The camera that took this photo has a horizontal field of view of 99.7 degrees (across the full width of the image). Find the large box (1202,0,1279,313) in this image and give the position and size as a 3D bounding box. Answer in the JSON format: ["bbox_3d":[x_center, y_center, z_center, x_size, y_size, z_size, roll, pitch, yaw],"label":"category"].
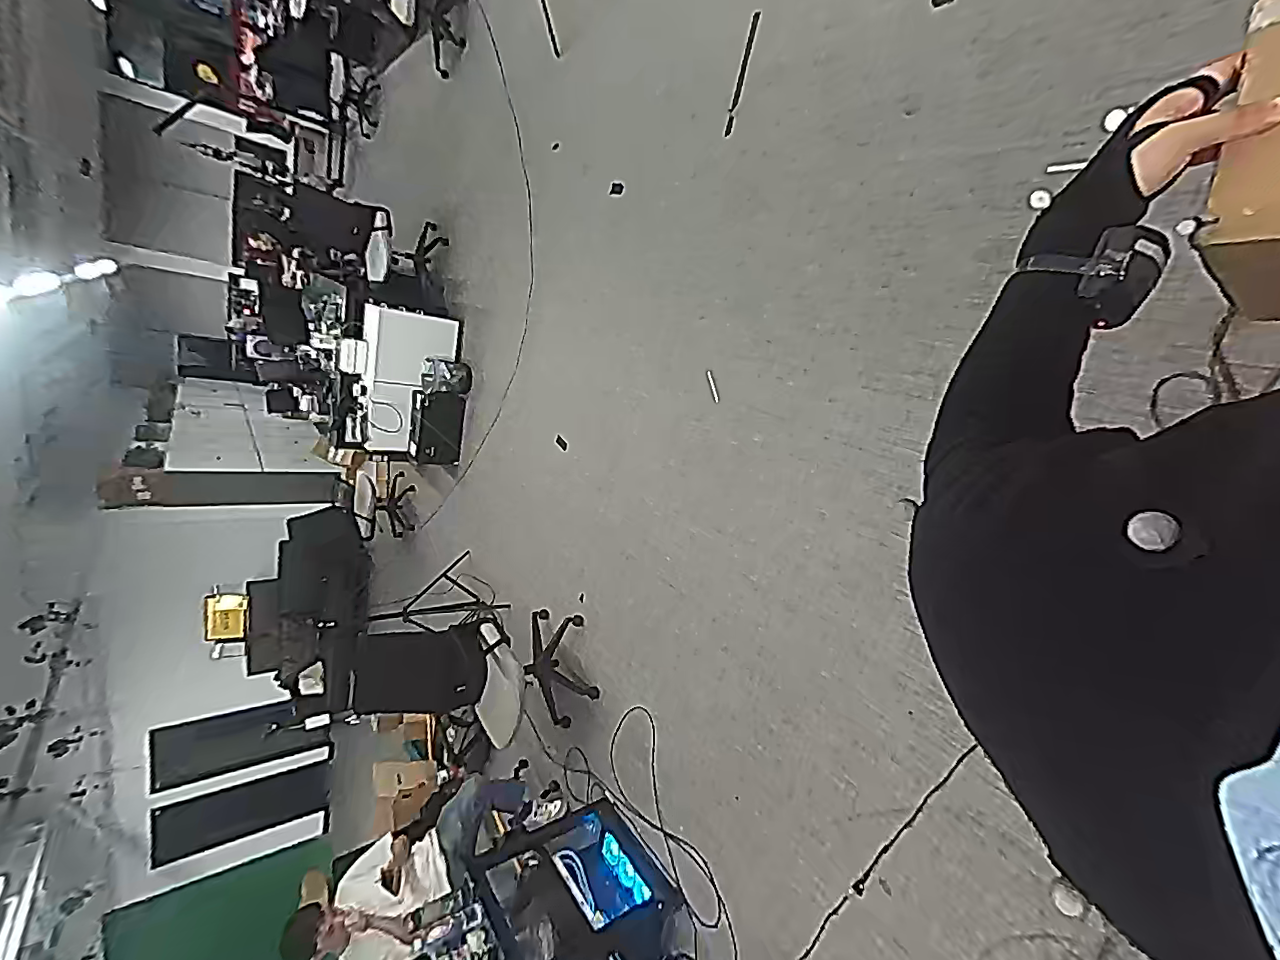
[{"bbox_3d":[0.679,-0.286,0.312,0.408,0.320,0.320,21,105,53],"label":"large box"}]
